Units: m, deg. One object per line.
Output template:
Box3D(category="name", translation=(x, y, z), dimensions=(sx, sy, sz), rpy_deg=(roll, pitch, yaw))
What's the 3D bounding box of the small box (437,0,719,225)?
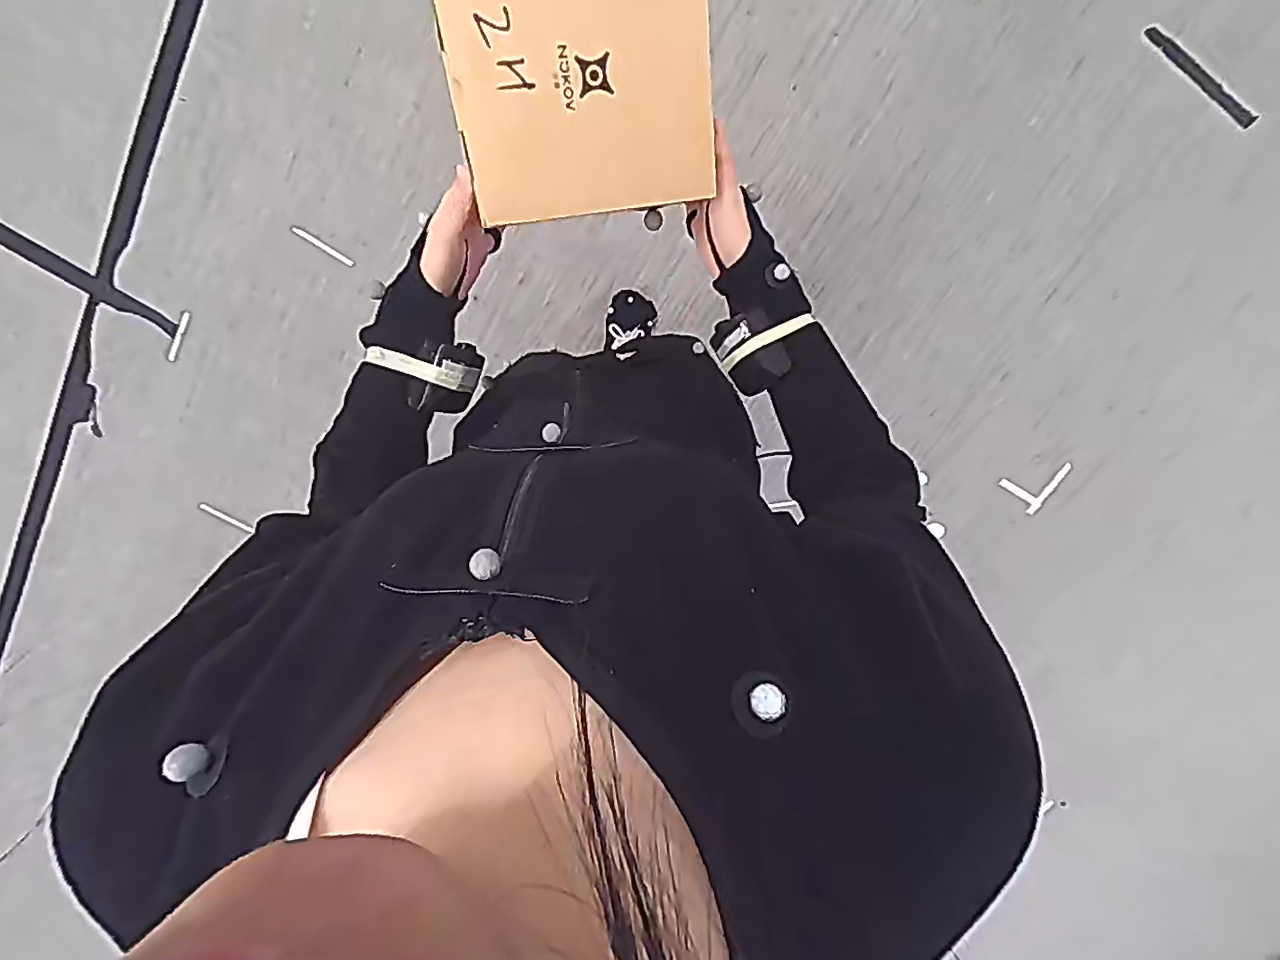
Box3D(category="small box", translation=(-0.042, -0.305, 0.429), dimensions=(0.179, 0.176, 0.168), rpy_deg=(-7, 117, 0))
